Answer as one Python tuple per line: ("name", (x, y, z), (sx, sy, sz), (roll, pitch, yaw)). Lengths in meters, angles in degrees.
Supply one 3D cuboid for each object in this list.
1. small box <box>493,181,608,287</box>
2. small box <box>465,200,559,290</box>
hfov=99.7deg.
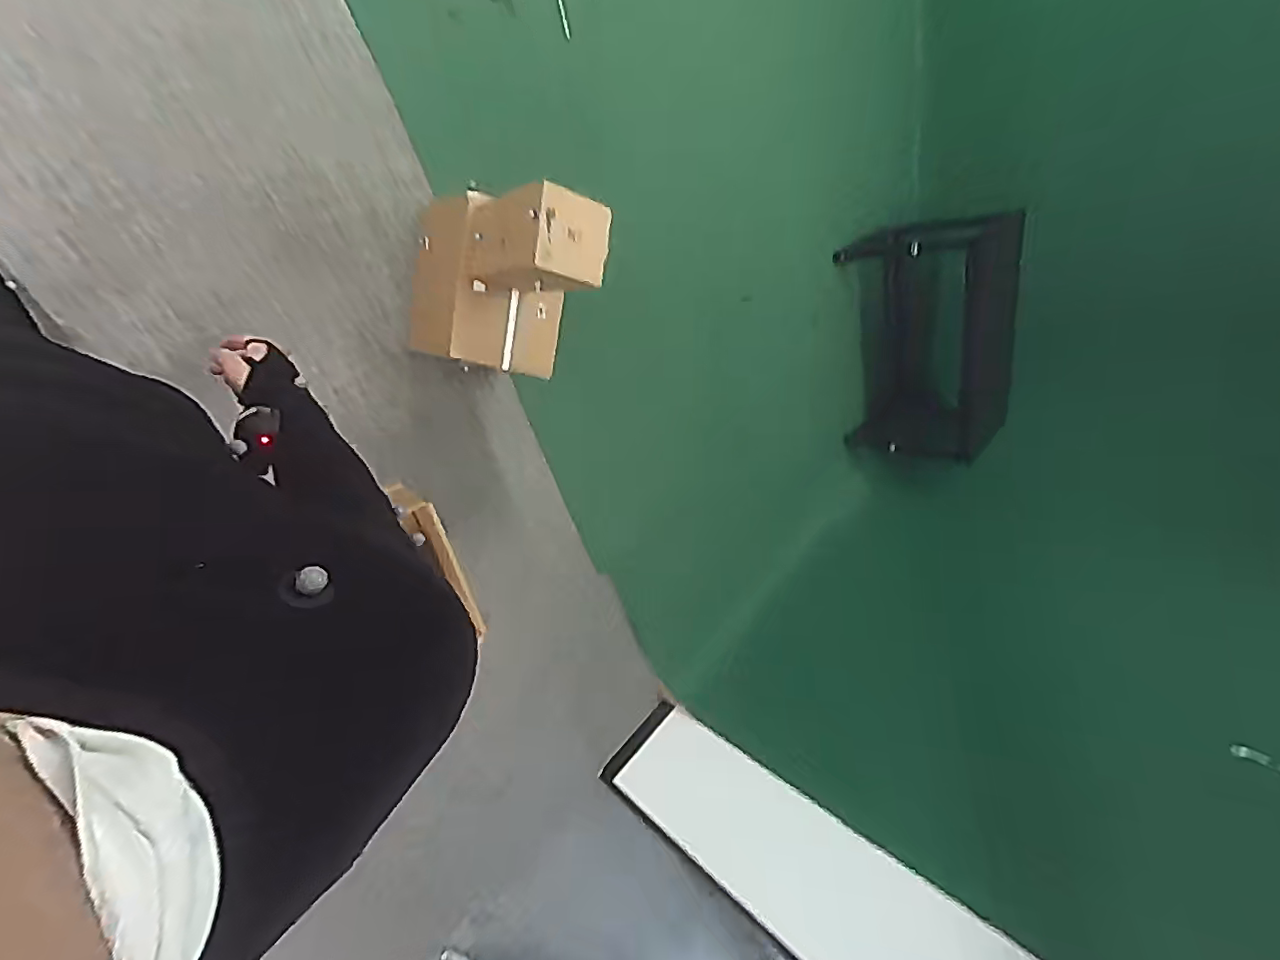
("small box", (-0.199, -0.535, 1.199), (0.179, 0.176, 0.168), (1, 103, -44))
("small box", (-0.302, -0.572, 1.322), (0.179, 0.176, 0.168), (2, 102, -43))
